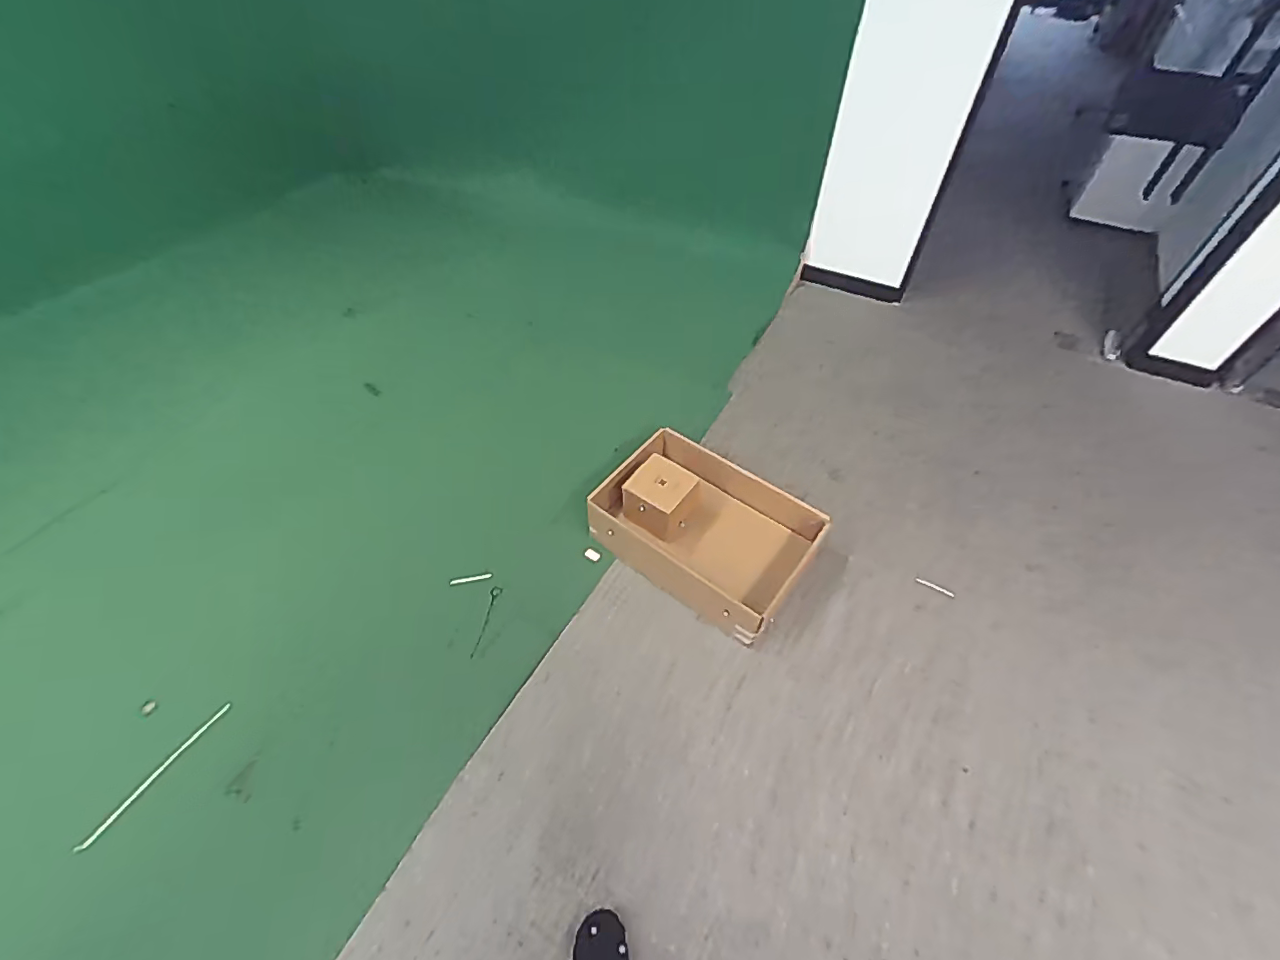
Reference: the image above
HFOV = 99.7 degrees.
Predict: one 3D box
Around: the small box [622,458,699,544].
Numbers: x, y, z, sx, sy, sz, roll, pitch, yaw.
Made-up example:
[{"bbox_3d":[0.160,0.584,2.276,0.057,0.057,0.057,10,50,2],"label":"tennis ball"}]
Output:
[{"bbox_3d":[0.062,0.069,1.676,0.179,0.176,0.168,31,59,22],"label":"small box"}]
